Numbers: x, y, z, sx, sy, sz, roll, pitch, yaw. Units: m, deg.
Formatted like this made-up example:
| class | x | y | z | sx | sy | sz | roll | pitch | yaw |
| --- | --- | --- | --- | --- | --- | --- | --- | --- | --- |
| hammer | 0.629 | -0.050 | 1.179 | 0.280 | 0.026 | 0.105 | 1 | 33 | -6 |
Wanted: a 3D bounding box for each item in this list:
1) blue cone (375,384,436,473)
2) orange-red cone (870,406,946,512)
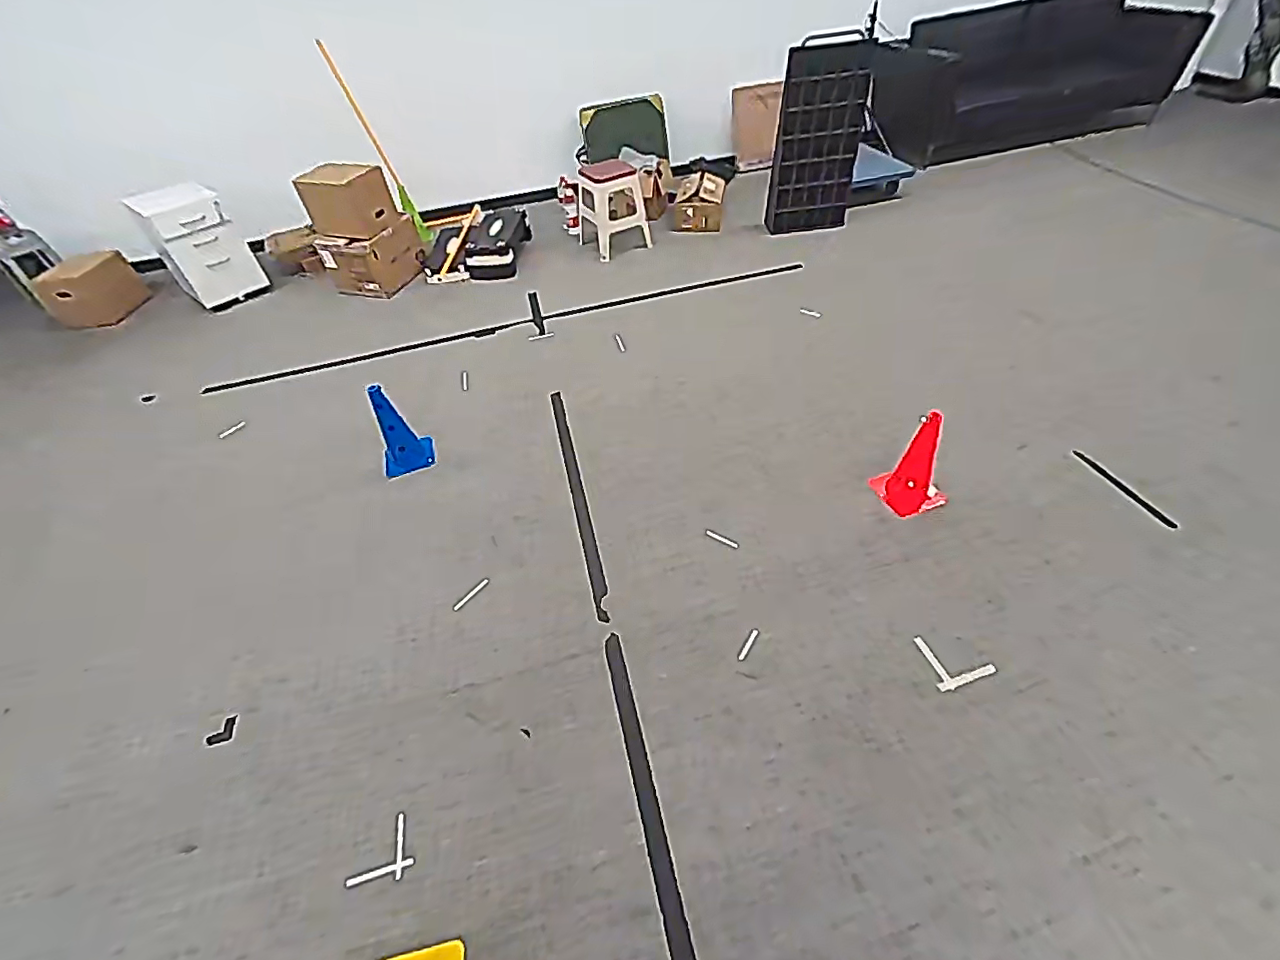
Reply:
| class | x | y | z | sx | sy | sz | roll | pitch | yaw |
| --- | --- | --- | --- | --- | --- | --- | --- | --- | --- |
| blue cone | -0.981 | -0.223 | 2.177 | 0.192 | 0.380 | 0.193 | -17 | 46 | -10 |
| orange-red cone | 0.938 | -0.096 | 1.810 | 0.198 | 0.360 | 0.199 | -17 | 45 | -10 |
